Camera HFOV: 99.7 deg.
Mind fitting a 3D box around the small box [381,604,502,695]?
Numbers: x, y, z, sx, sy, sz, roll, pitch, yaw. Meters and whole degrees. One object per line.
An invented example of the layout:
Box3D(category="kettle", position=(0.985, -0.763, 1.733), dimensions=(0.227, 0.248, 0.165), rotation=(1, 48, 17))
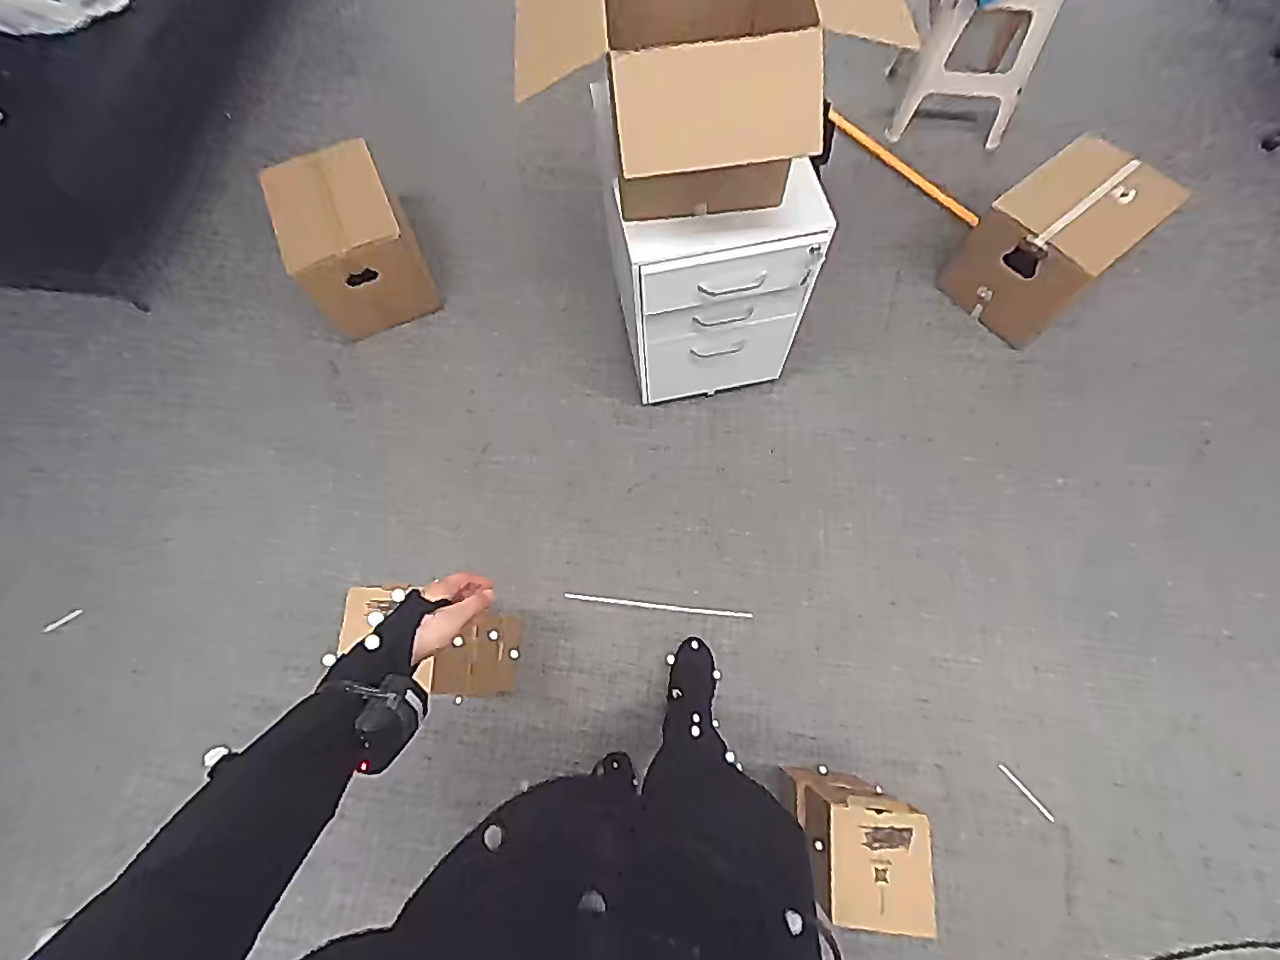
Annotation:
Box3D(category="small box", position=(-0.402, 0.357, 1.132), dimensions=(0.179, 0.176, 0.168), rotation=(1, 68, 5))

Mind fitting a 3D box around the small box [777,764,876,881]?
Box3D(category="small box", position=(0.385, 0.711, 1.128), dimensions=(0.168, 0.176, 0.179), rotation=(3, 70, 4))

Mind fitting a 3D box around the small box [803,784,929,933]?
Box3D(category="small box", position=(0.393, 0.662, 0.971), dimensions=(0.168, 0.176, 0.179), rotation=(4, 71, 5))

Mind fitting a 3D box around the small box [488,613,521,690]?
Box3D(category="small box", position=(-0.394, 0.404, 1.288), dimensions=(0.179, 0.176, 0.168), rotation=(4, 69, 4))
